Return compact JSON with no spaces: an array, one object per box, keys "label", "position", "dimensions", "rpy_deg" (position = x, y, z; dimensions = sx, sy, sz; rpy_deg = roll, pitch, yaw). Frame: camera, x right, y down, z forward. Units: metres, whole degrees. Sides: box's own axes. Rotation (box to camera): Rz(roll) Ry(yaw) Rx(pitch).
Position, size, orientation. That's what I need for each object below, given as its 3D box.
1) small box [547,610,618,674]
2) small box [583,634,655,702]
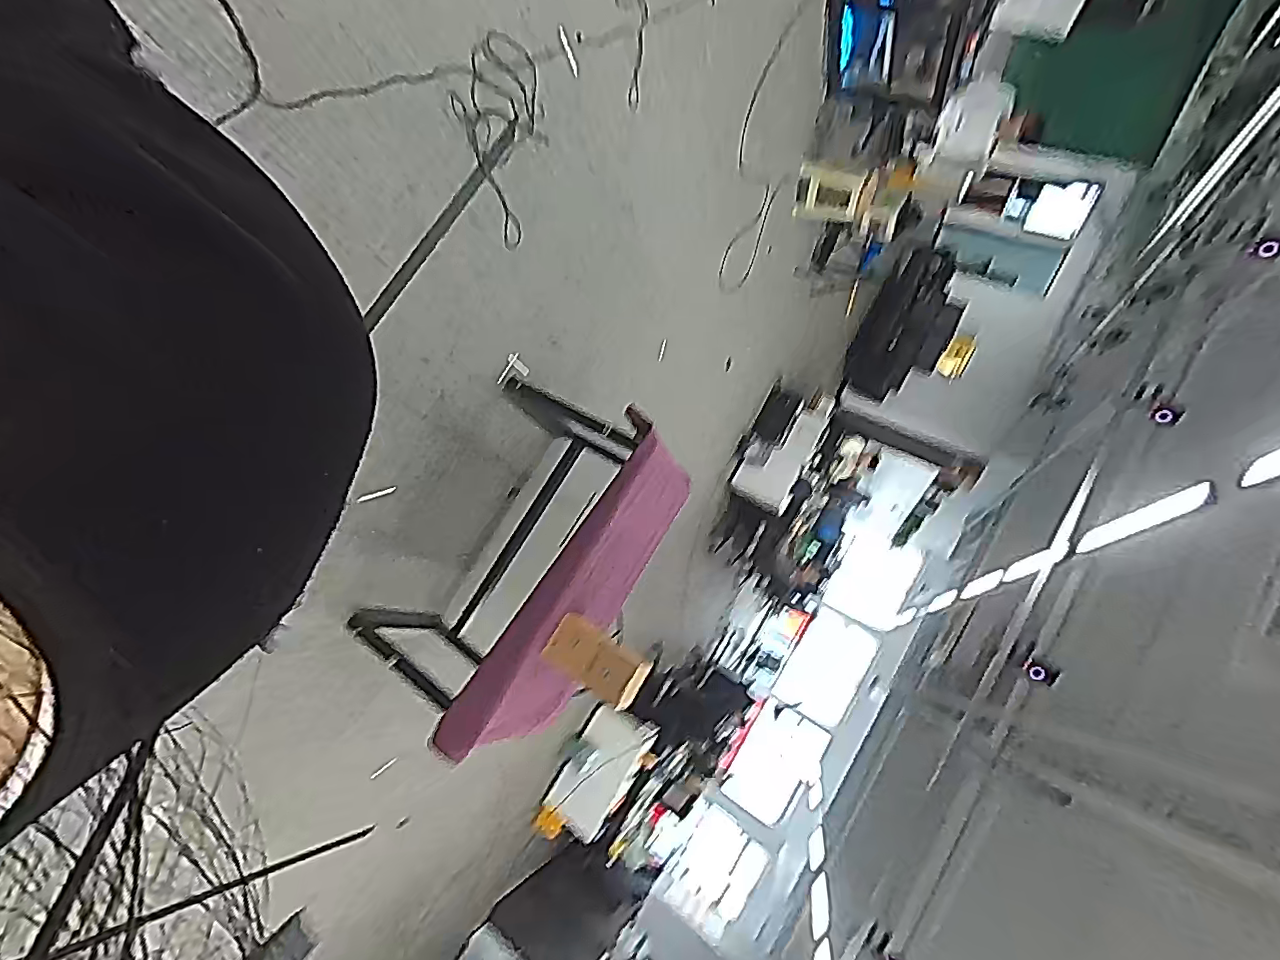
[{"label":"small box","position":[-0.211,0.590,1.970],"dimensions":[0.168,0.176,0.179],"rpy_deg":[-59,157,-7]},{"label":"small box","position":[-0.077,0.662,1.910],"dimensions":[0.168,0.176,0.179],"rpy_deg":[-59,157,-8]}]
